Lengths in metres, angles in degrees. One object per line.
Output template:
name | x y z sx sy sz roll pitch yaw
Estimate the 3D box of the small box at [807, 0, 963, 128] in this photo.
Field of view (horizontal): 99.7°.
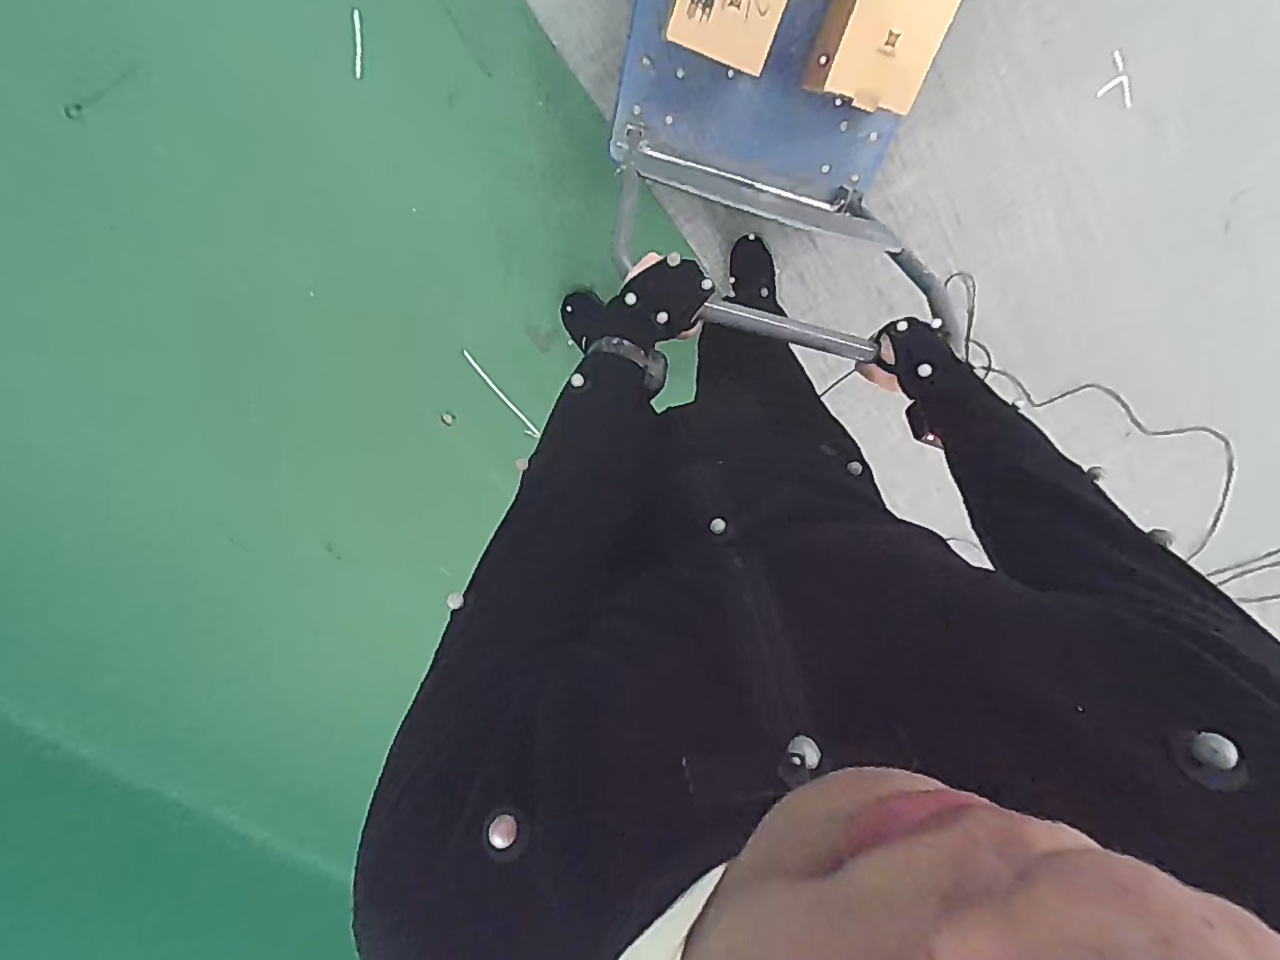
small box | 0.423 -0.766 0.973 0.168 0.176 0.179 13 128 -9
